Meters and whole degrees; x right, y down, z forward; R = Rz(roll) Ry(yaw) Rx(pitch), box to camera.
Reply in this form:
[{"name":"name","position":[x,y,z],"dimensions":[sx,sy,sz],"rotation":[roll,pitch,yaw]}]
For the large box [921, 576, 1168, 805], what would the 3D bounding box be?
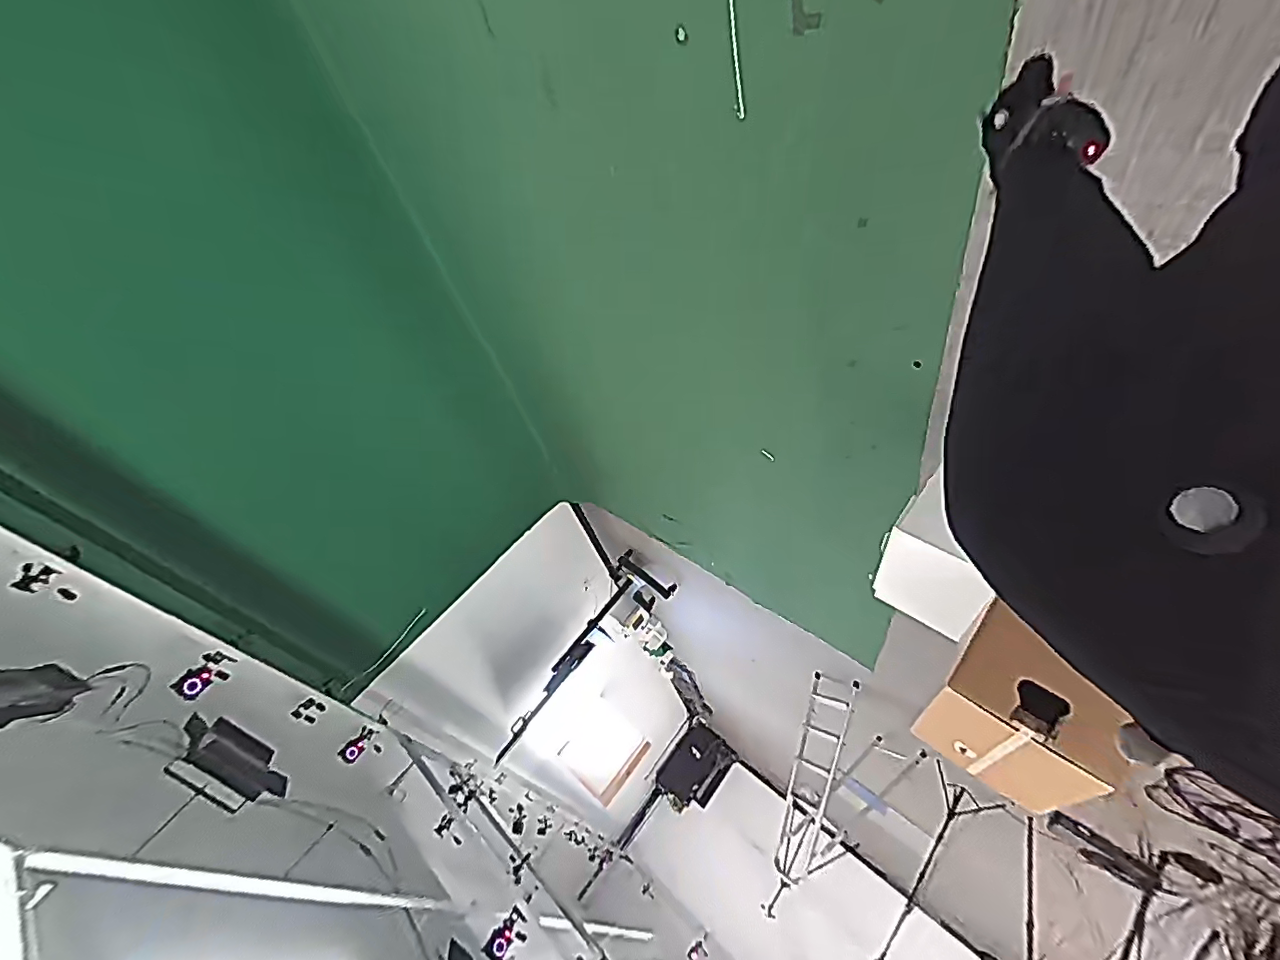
[{"name":"large box","position":[0.920,0.496,1.276],"dimensions":[0.320,0.320,0.408],"rotation":[31,156,32]}]
